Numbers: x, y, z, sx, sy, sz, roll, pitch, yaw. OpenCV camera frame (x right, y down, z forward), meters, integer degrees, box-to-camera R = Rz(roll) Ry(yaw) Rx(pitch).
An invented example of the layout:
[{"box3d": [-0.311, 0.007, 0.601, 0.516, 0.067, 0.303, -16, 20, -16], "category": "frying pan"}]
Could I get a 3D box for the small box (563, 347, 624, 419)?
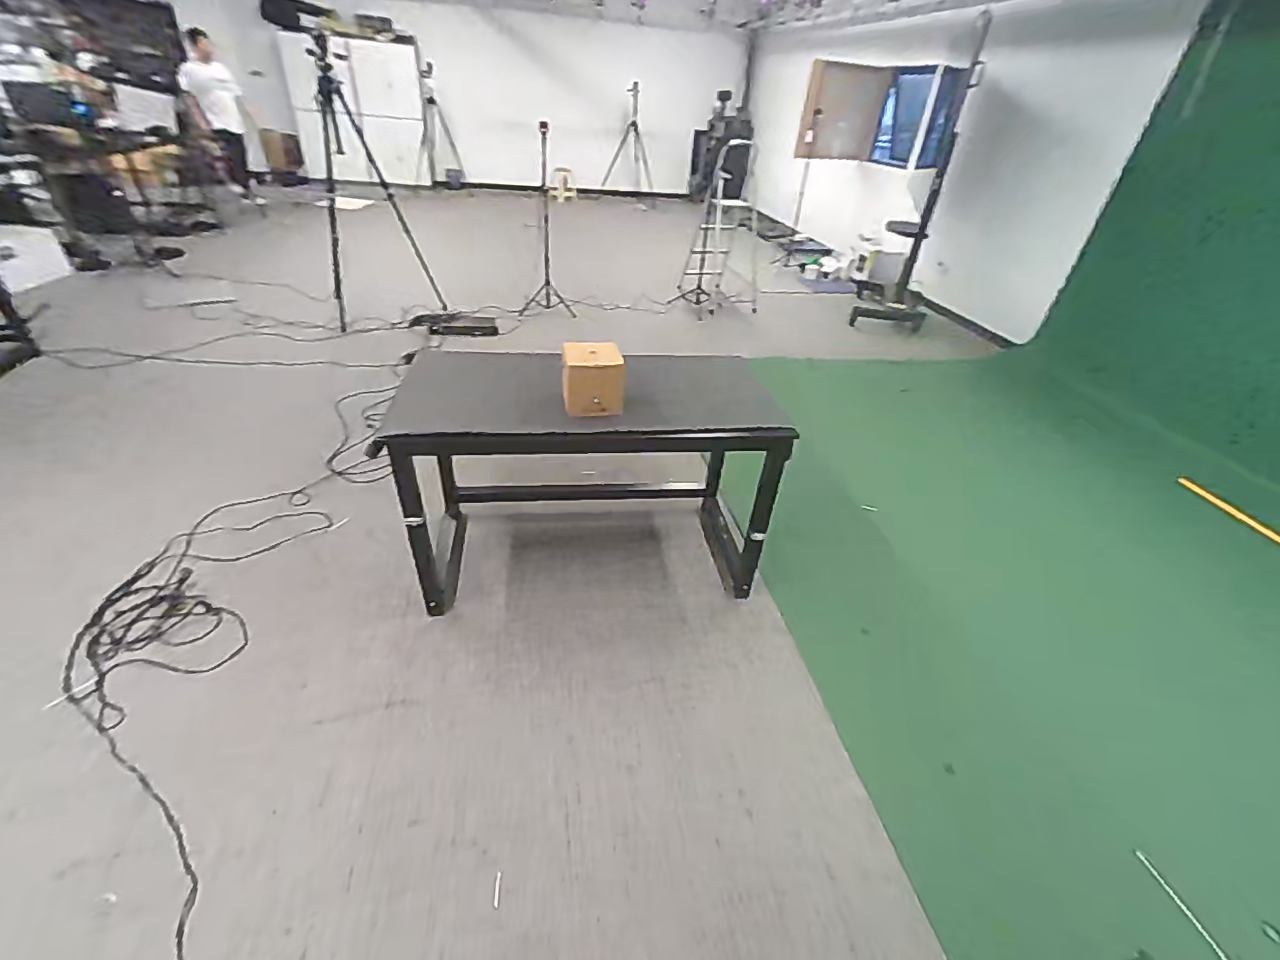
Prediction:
[{"box3d": [-0.148, -0.297, 1.651, 0.168, 0.176, 0.179, -4, 35, -12], "category": "small box"}]
